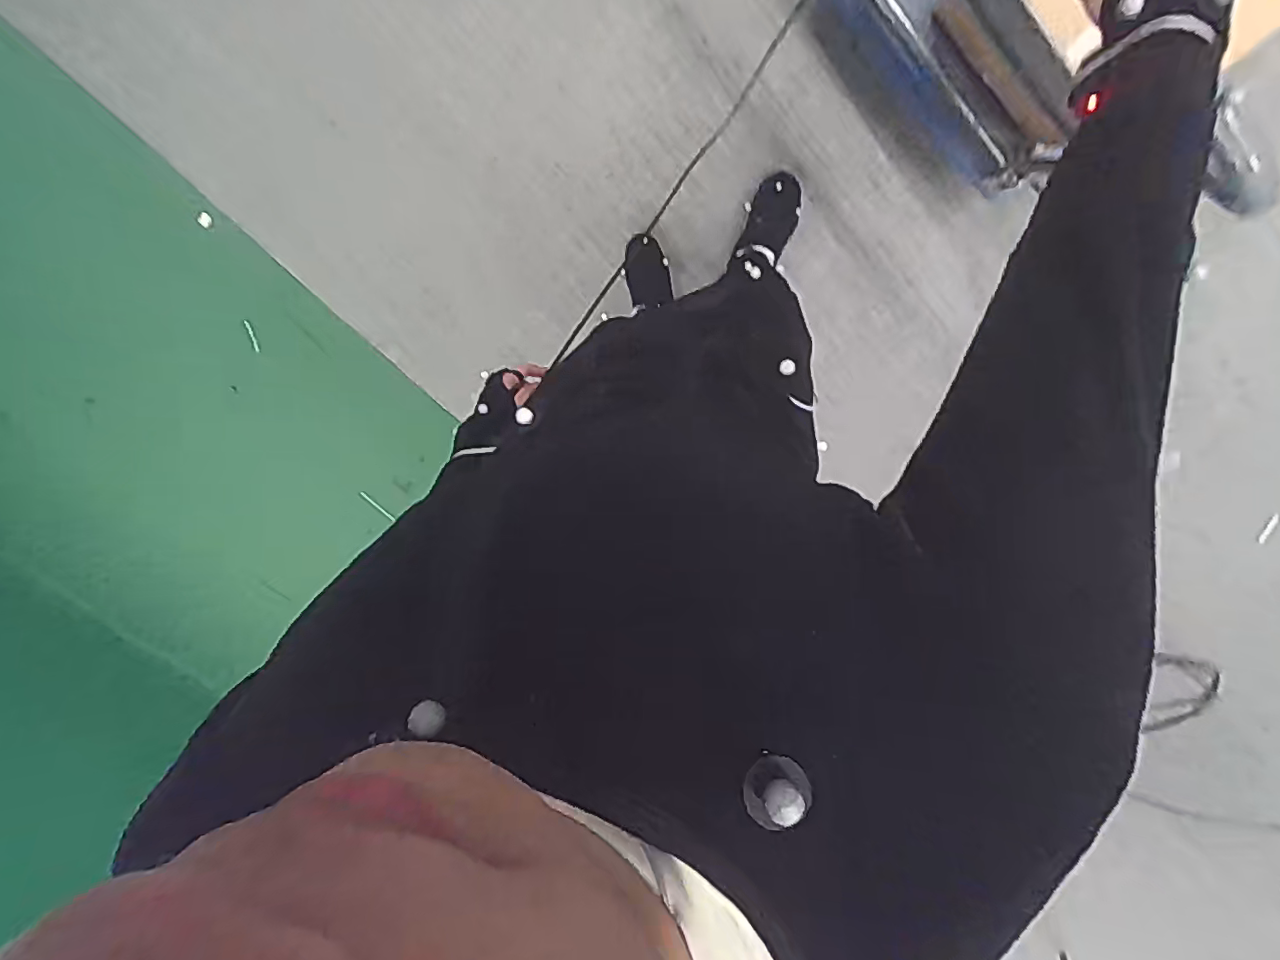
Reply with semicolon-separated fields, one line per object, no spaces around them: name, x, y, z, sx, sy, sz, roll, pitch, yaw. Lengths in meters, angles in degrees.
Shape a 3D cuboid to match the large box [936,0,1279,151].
large box;0.721;-0.751;0.760;0.320;0.320;0.408;41;123;-14
